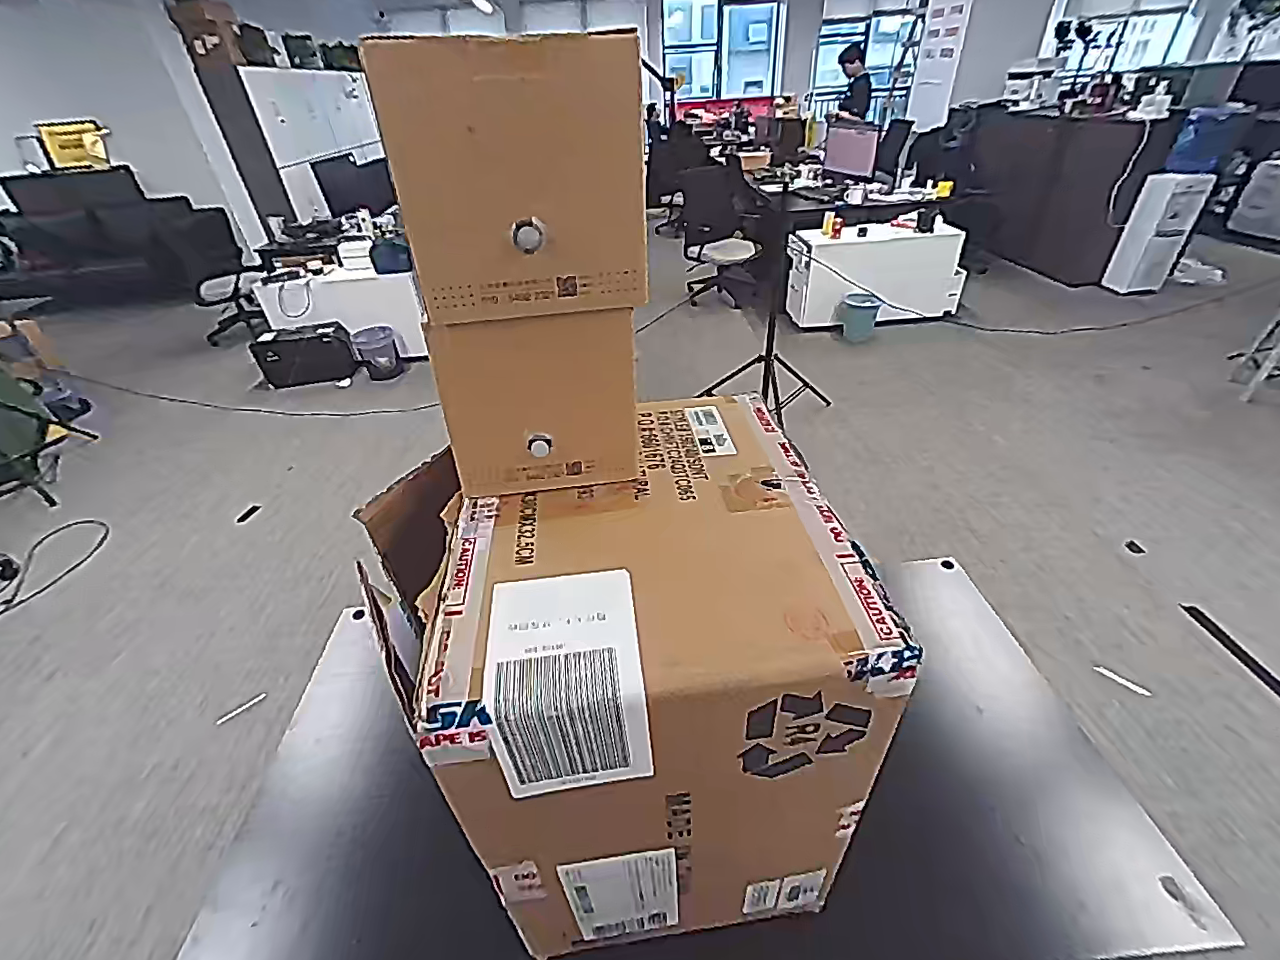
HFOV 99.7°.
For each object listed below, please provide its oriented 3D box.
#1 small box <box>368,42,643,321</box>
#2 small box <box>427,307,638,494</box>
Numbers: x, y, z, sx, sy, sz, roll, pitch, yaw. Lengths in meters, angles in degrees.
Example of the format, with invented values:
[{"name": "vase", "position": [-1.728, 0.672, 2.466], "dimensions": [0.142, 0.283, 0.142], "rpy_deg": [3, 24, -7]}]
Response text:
[{"name": "small box", "position": [-0.093, -0.238, 0.440], "dimensions": [0.168, 0.176, 0.179], "rpy_deg": [-8, 35, -8]}, {"name": "small box", "position": [-0.095, -0.106, 0.539], "dimensions": [0.168, 0.176, 0.179], "rpy_deg": [-7, 35, -6]}]
